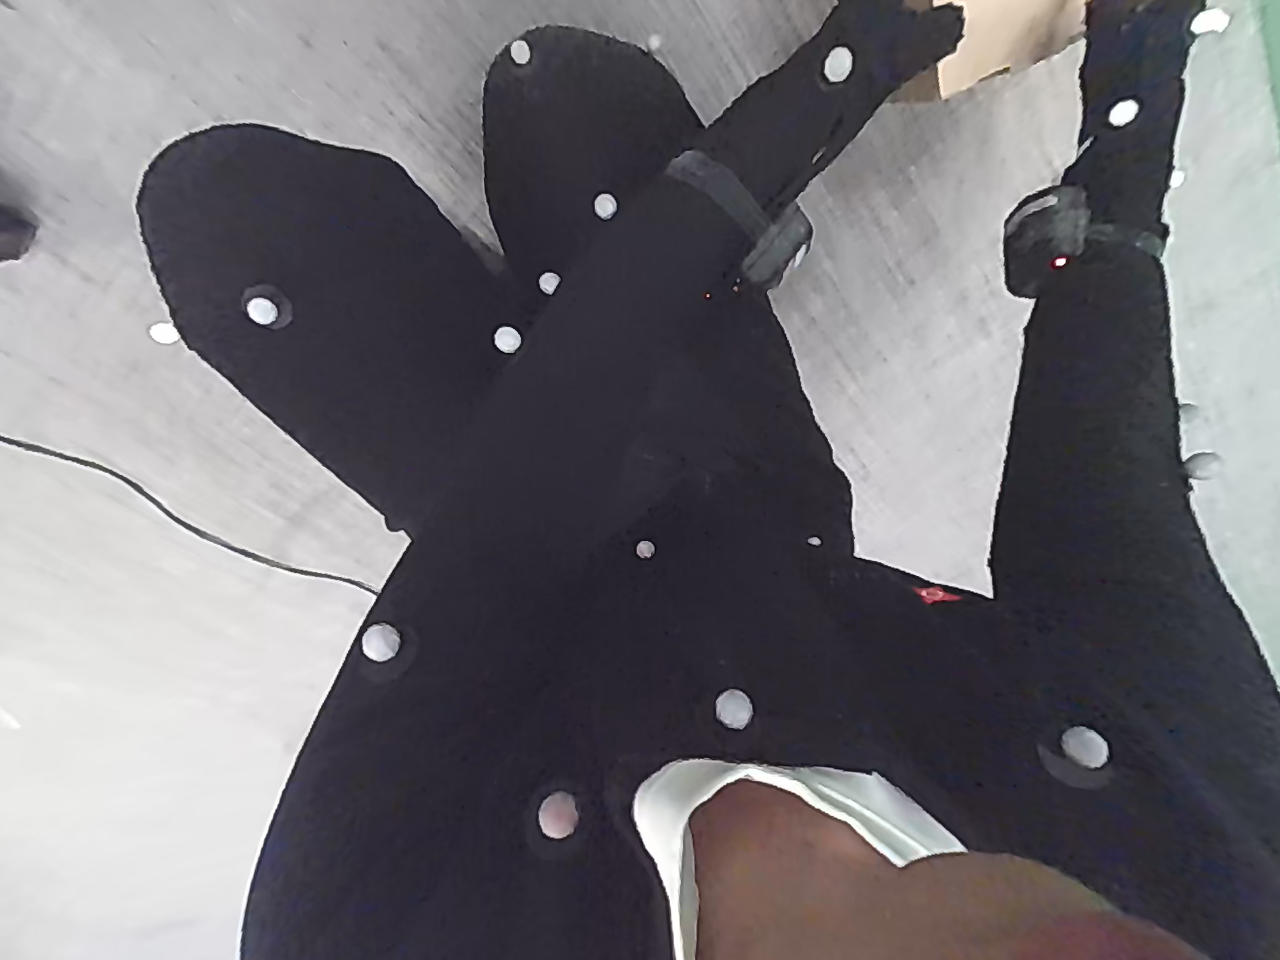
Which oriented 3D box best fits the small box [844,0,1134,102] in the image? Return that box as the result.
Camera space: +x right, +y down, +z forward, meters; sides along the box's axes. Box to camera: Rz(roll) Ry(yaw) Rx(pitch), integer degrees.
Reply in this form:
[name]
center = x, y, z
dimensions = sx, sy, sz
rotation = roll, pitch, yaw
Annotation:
[small box]
center = 0.287, -0.462, 0.470
dimensions = 0.168, 0.176, 0.179
rotation = -21, 121, 11
